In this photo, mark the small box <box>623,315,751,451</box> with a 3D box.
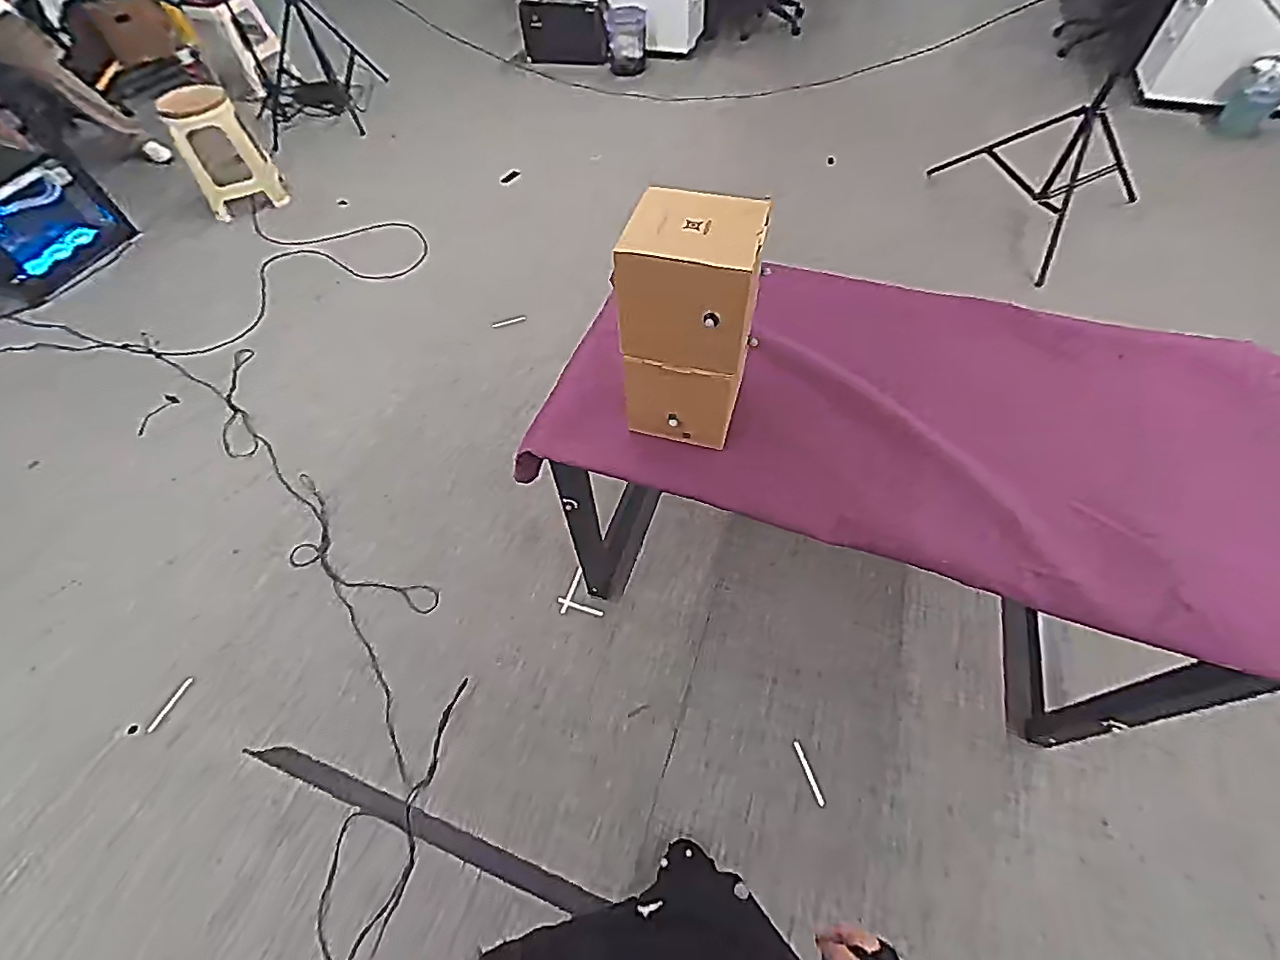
[{"bbox_3d":[0.077,-0.177,0.897,0.168,0.176,0.179,13,57,11],"label":"small box"}]

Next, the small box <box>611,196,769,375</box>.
[{"bbox_3d":[0.071,-0.270,0.765,0.179,0.176,0.168,12,55,11],"label":"small box"}]
